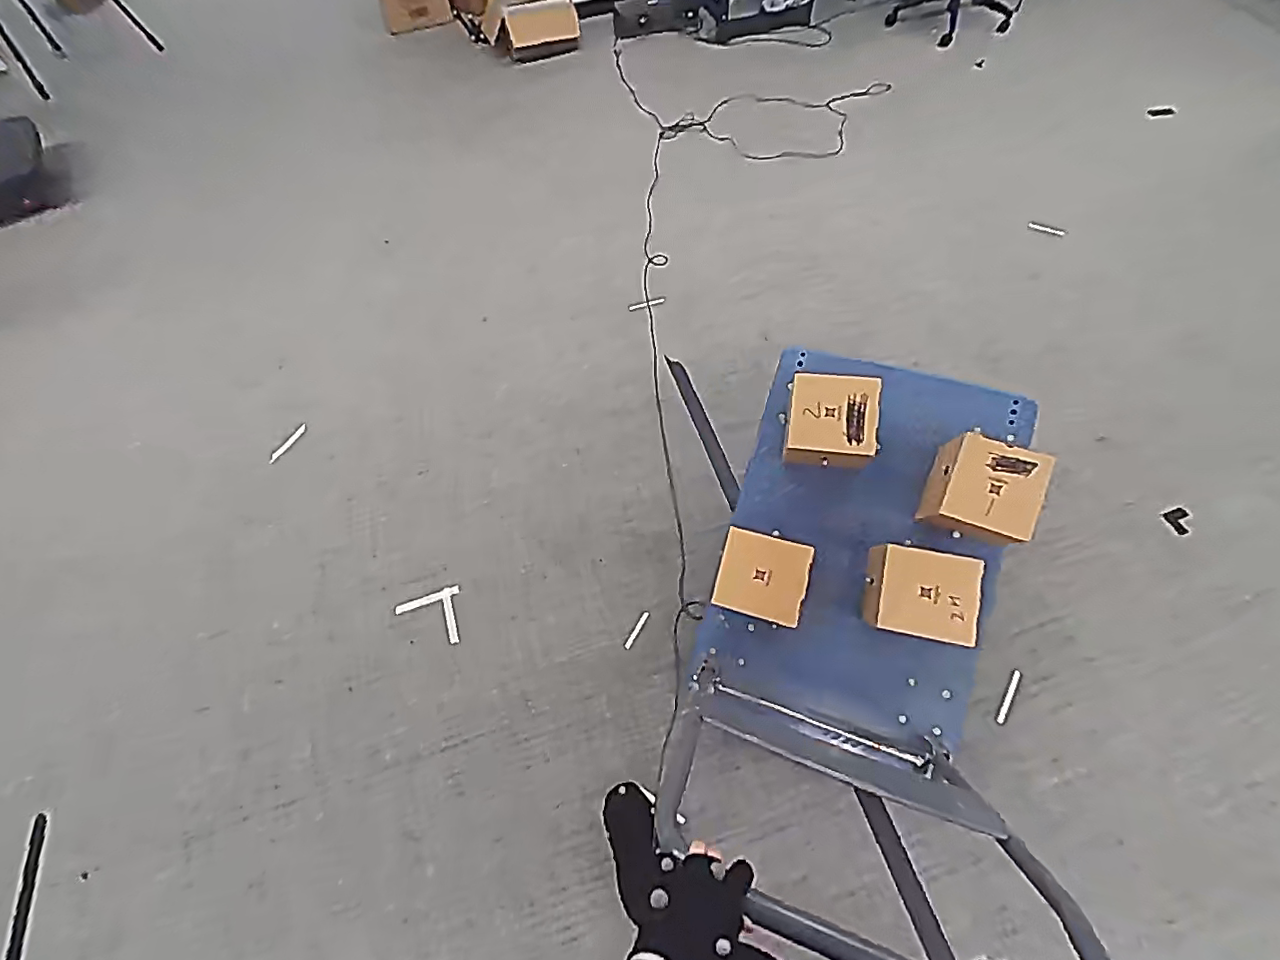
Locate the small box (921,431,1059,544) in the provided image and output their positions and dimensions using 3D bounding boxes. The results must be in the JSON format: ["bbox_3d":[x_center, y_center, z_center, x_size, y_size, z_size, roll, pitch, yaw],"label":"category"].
[{"bbox_3d":[0.705,0.022,1.111,0.168,0.176,0.179,20,86,15],"label":"small box"}]

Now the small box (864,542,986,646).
[{"bbox_3d":[0.570,0.228,1.104,0.179,0.176,0.168,10,83,13],"label":"small box"}]

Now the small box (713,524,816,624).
[{"bbox_3d":[0.266,0.203,1.171,0.179,0.176,0.168,14,84,12],"label":"small box"}]
